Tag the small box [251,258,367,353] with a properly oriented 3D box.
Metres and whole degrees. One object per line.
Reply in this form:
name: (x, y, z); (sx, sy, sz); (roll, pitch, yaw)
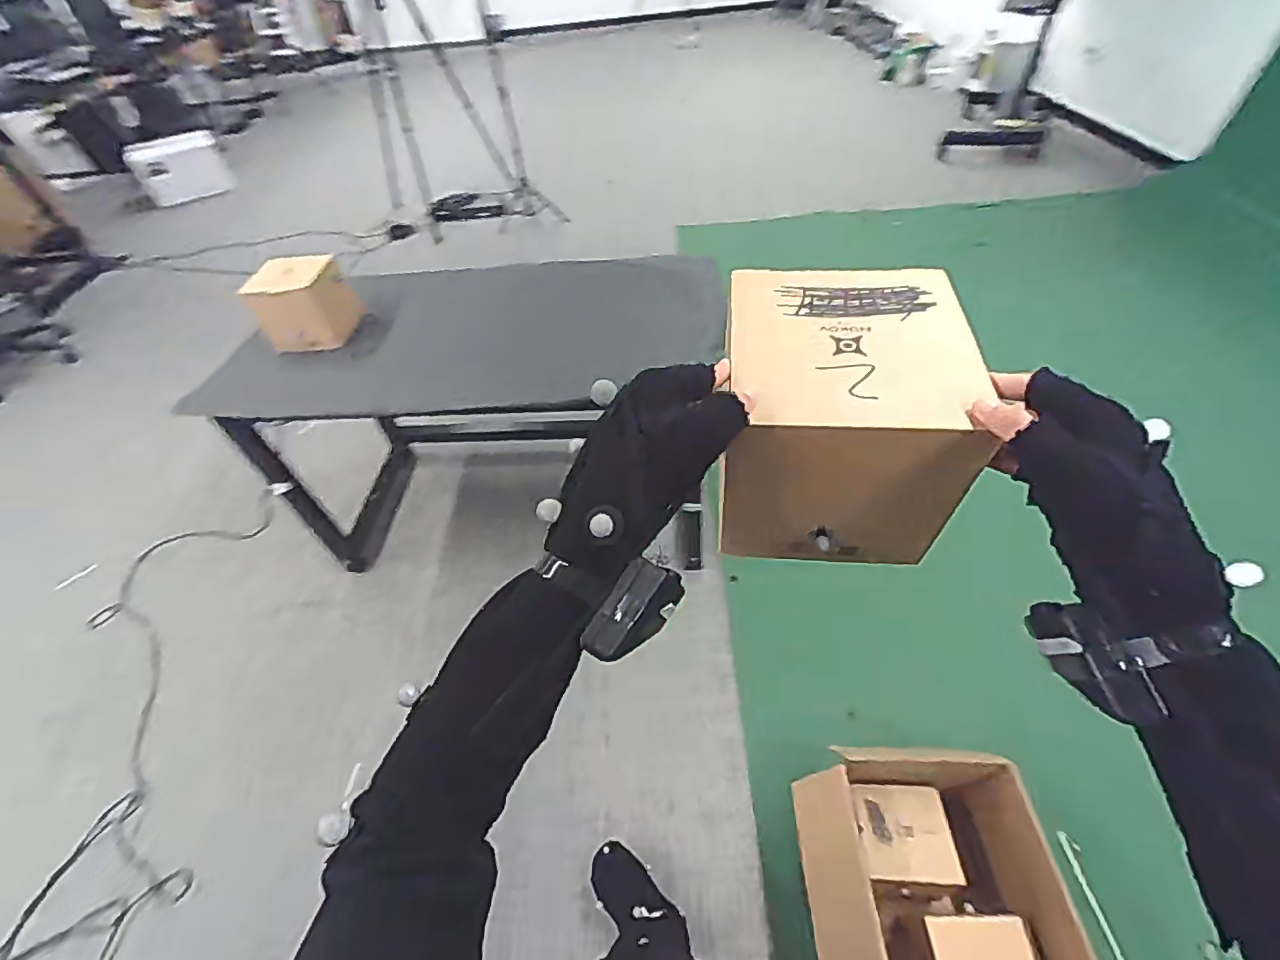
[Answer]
small box: (-0.829, -0.446, 1.382); (0.168, 0.176, 0.179); (-3, 48, 4)
